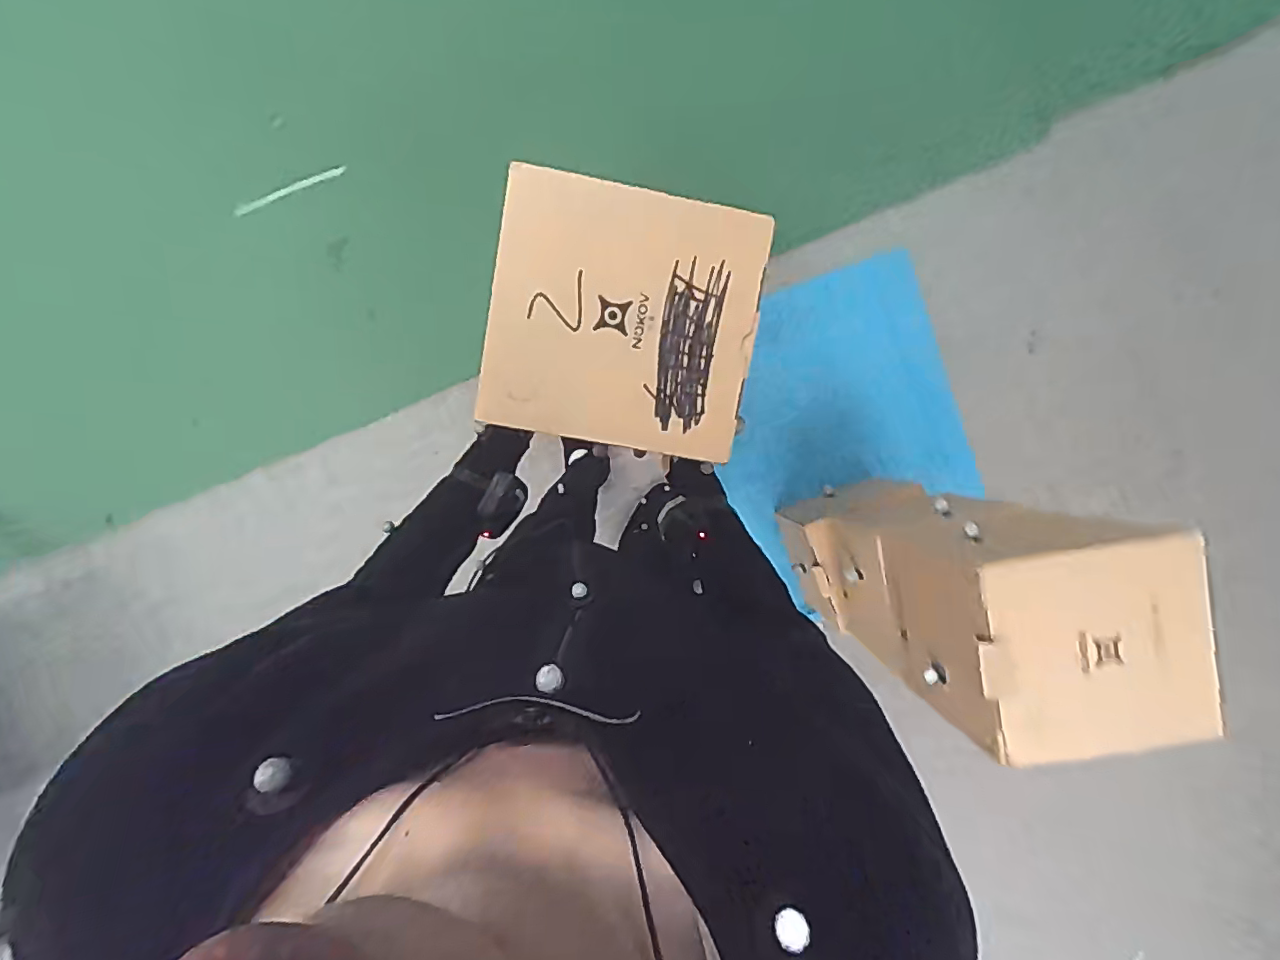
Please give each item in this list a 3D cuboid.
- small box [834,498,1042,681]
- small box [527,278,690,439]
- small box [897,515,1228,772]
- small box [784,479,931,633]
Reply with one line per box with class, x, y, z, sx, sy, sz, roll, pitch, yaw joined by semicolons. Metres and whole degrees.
small box;0.351;0.119;0.654;0.179;0.176;0.168;-10;93;-1
small box;-0.046;-0.158;0.747;0.179;0.176;0.168;12;95;-6
small box;0.355;0.129;0.491;0.179;0.176;0.168;-8;93;-1
small box;0.332;0.104;0.815;0.179;0.176;0.168;-19;94;1
